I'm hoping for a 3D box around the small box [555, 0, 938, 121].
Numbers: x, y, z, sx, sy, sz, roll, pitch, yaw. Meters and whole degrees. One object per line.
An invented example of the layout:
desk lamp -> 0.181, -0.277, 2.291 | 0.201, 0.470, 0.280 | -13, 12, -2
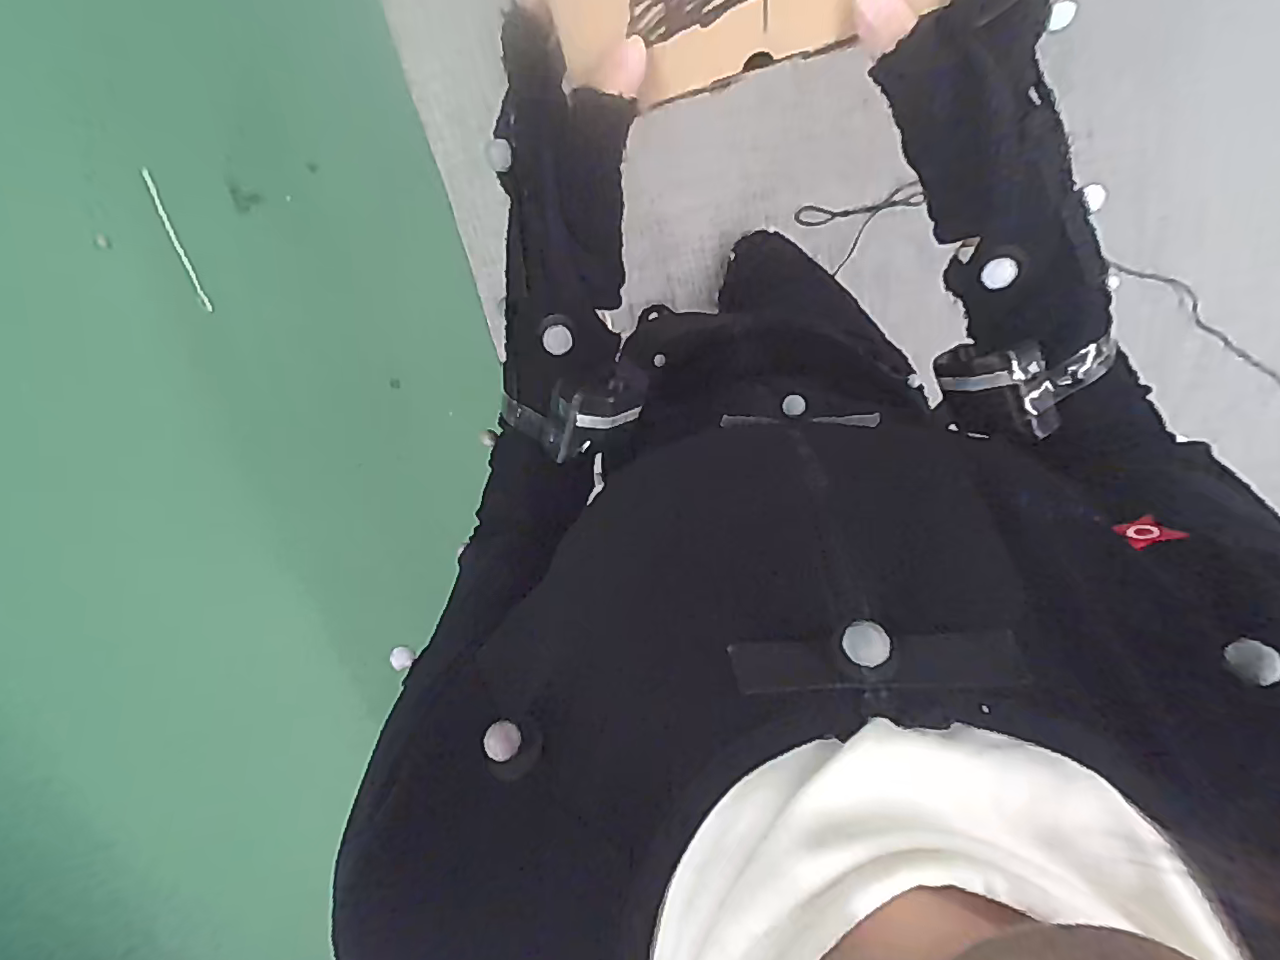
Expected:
small box -> 0.032, -0.305, 0.256 | 0.168, 0.176, 0.179 | -12, 130, 9
